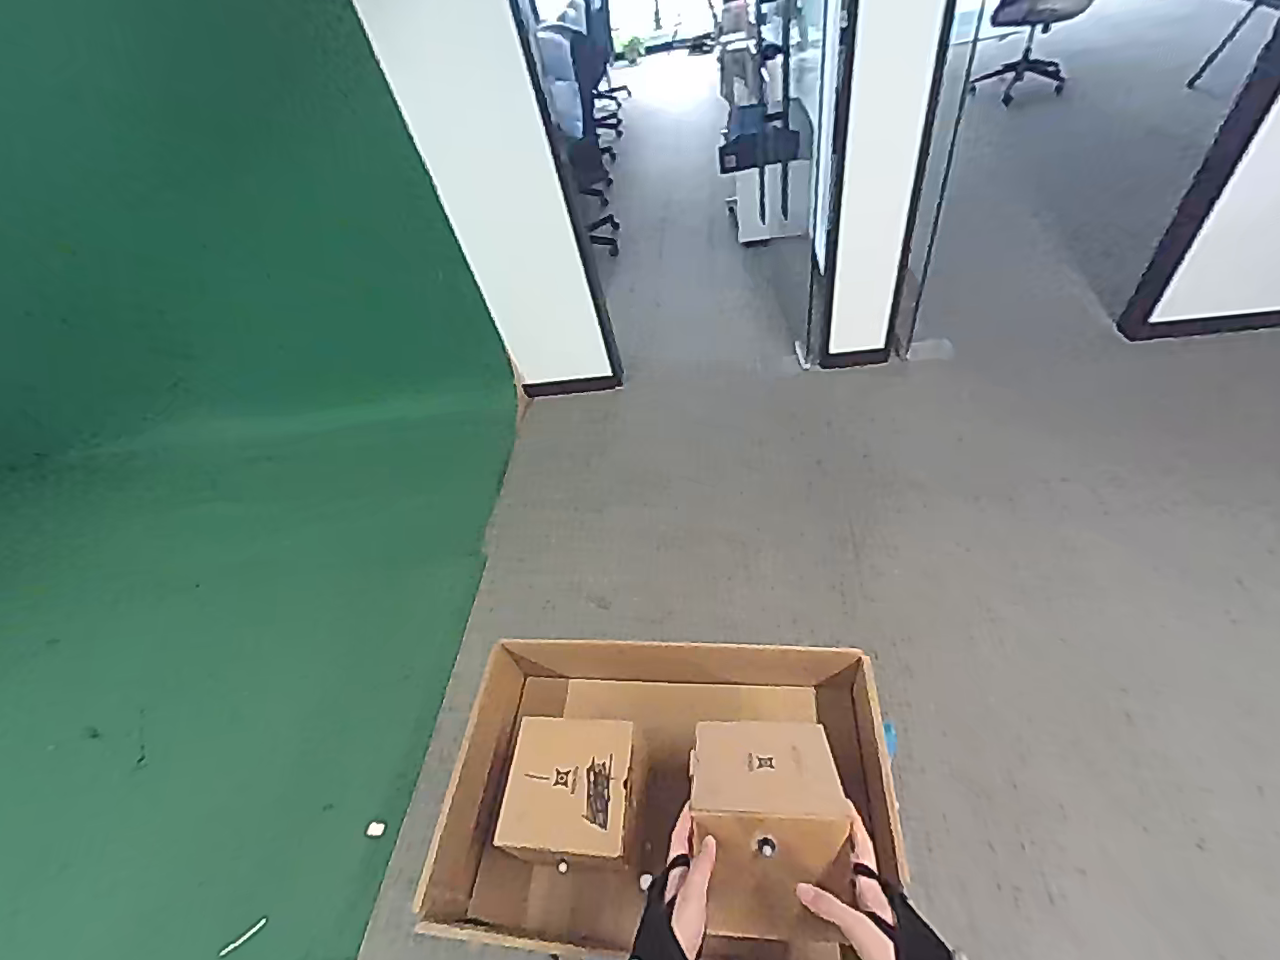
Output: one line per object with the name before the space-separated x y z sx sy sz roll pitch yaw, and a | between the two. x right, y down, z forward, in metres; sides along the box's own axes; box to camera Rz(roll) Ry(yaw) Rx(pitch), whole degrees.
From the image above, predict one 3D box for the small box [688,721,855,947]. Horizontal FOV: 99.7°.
small box | 0.157 0.423 0.667 0.179 0.176 0.168 -2 9 9
